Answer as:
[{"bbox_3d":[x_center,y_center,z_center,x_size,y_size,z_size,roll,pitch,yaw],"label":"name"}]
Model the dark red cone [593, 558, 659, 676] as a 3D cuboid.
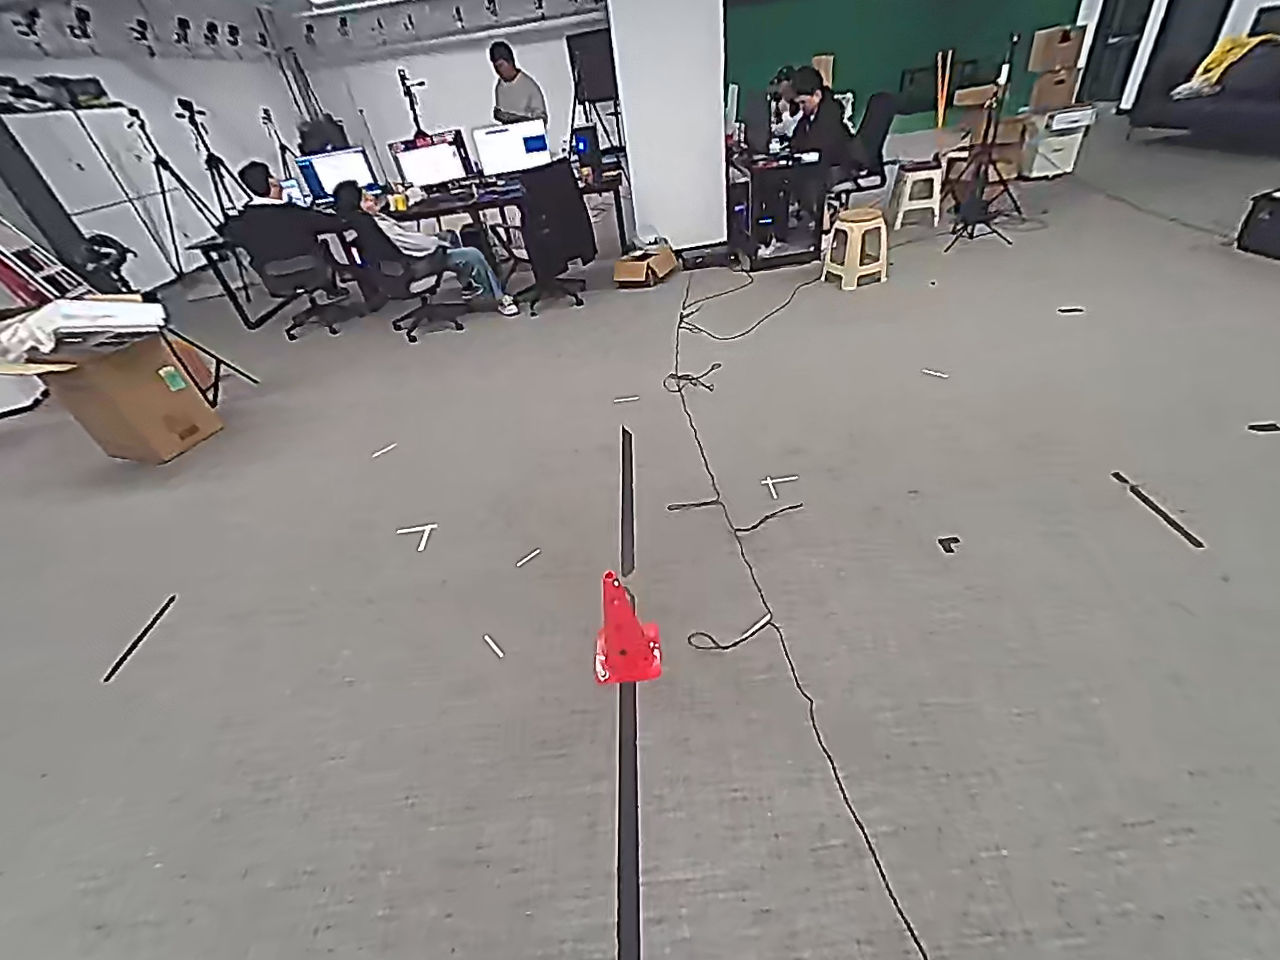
[{"bbox_3d":[-0.063,0.381,1.566,0.201,0.394,0.202,-7,36,2],"label":"dark red cone"}]
